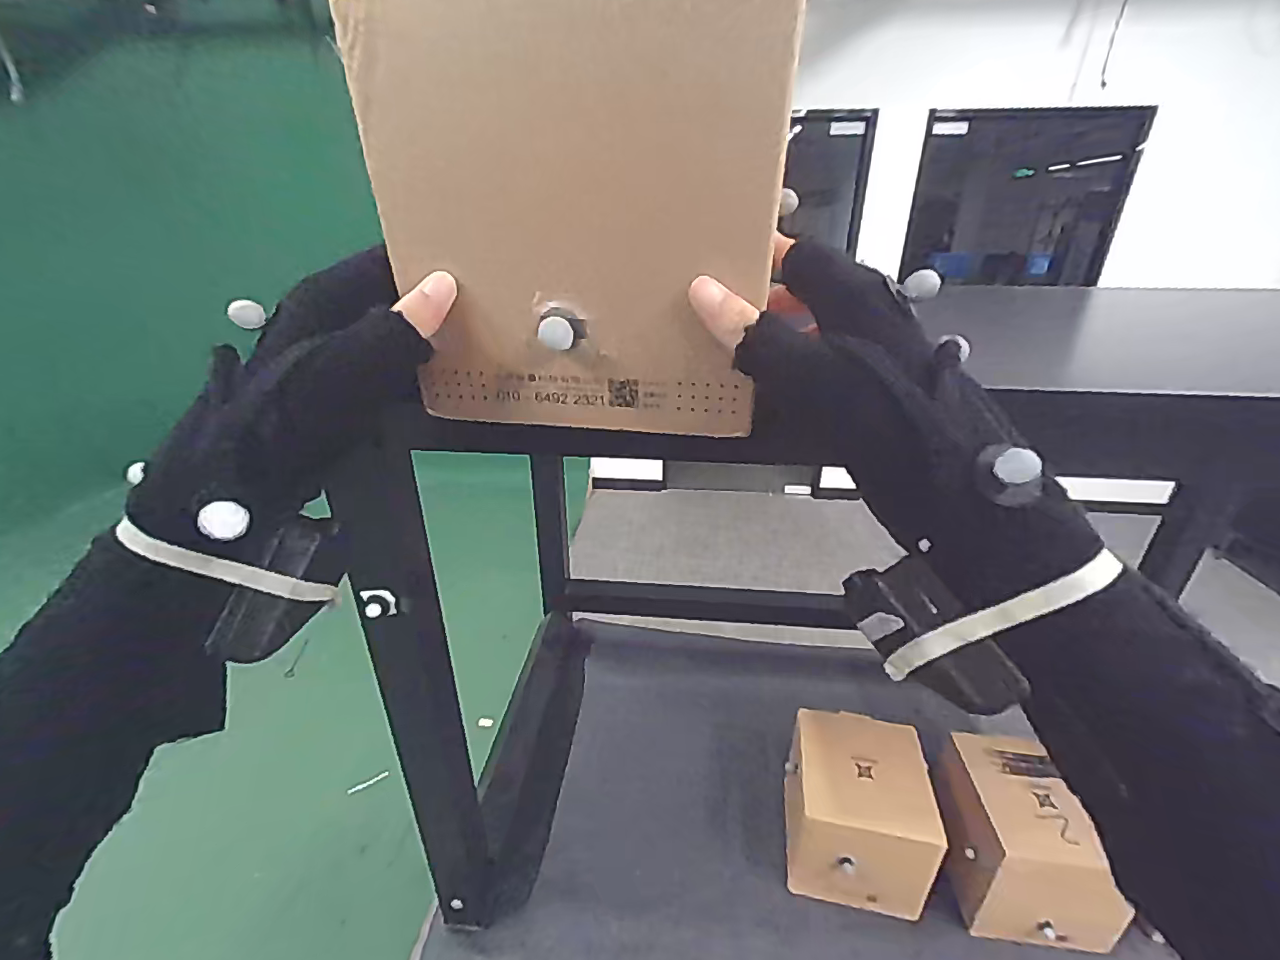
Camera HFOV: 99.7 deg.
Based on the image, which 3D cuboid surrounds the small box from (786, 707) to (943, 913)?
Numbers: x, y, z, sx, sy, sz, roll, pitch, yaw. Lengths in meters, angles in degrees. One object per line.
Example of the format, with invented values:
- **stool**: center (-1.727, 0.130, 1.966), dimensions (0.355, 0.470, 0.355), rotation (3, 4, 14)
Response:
- **small box**: center (0.301, 0.460, 0.763), dimensions (0.168, 0.176, 0.179), rotation (5, 25, 11)

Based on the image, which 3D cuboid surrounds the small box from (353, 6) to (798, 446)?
- **small box**: center (-0.015, -0.137, 0.300), dimensions (0.168, 0.176, 0.179), rotation (4, 34, 7)
